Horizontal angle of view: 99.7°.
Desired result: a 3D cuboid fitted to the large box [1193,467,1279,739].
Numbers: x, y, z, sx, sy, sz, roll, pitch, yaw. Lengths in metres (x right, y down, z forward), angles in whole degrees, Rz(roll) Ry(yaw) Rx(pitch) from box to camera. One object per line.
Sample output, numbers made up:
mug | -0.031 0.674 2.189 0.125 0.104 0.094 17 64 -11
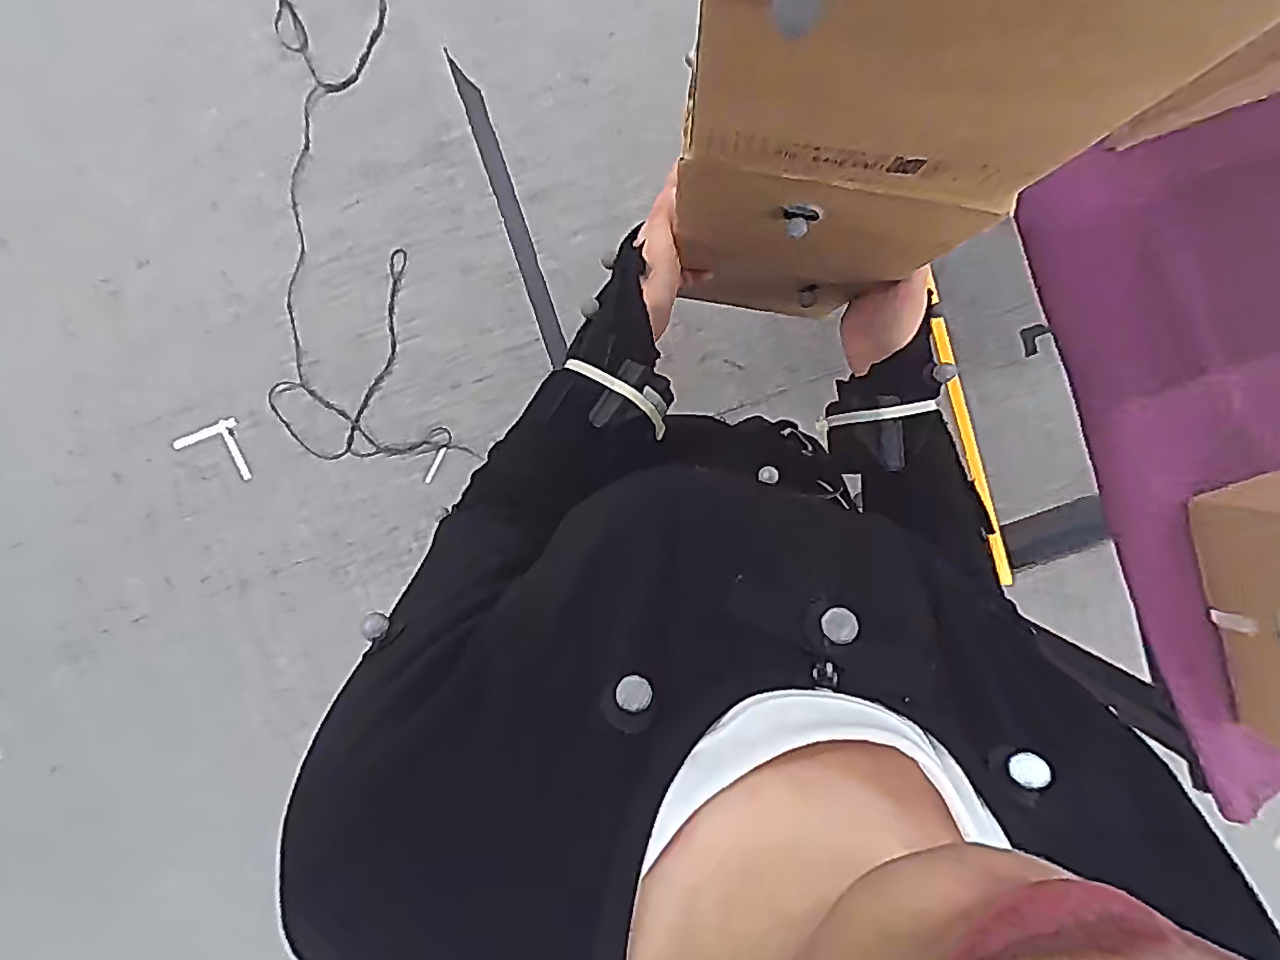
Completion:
large box | 0.880 0.110 0.497 0.408 0.320 0.320 -20 98 1

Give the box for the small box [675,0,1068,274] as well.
small box | 0.121 -0.243 0.340 0.179 0.176 0.168 10 97 0
